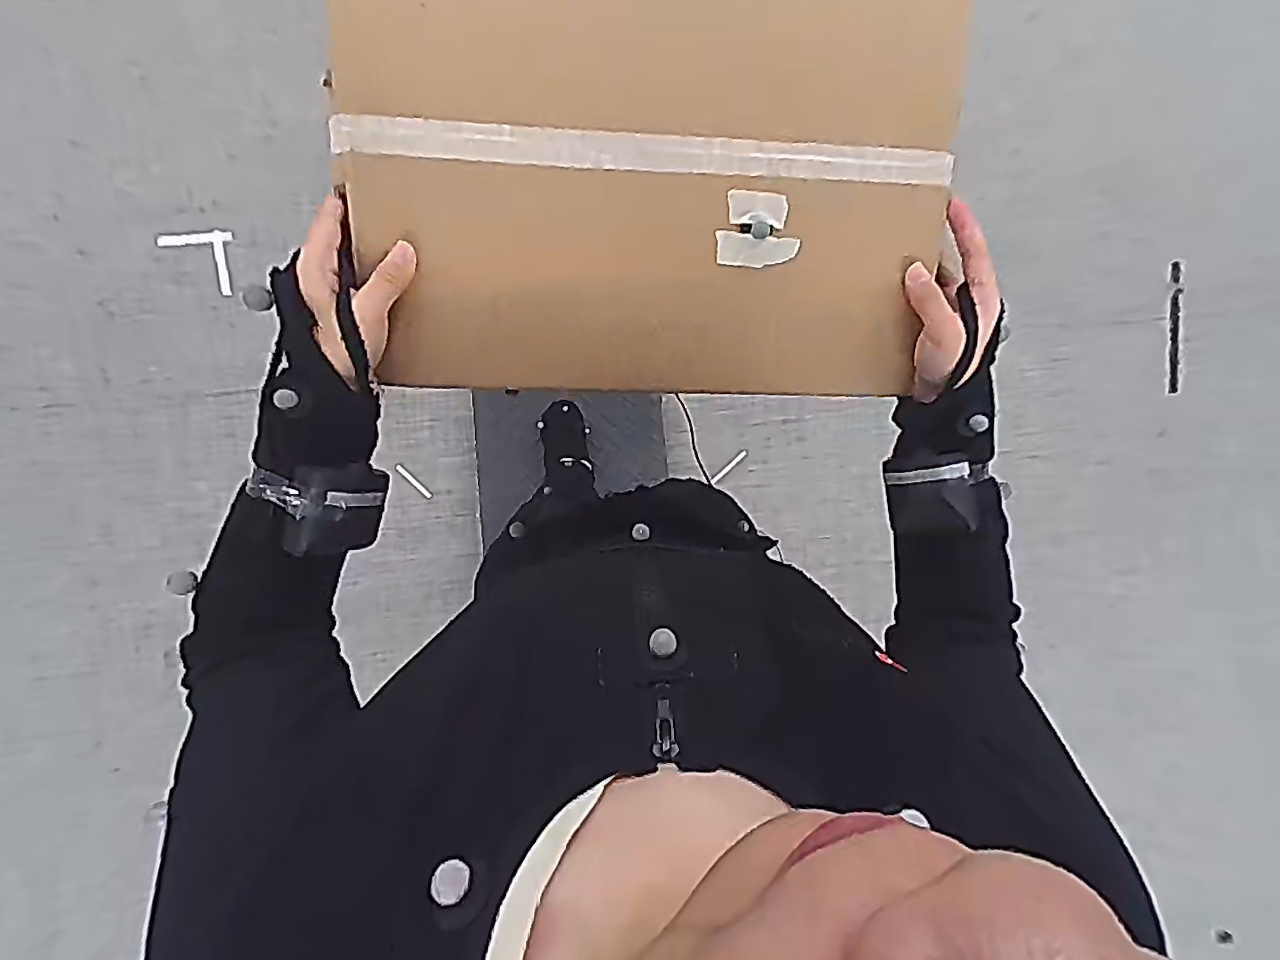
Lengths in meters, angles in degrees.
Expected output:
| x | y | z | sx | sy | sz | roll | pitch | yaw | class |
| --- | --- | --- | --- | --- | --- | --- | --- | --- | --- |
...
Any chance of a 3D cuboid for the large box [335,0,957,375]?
| x | y | z | sx | sy | sz | roll | pitch | yaw | class |
| --- | --- | --- | --- | --- | --- | --- | --- | --- | --- |
| -0.006 | -0.269 | 0.506 | 0.408 | 0.320 | 0.320 | 0 | 107 | -7 | large box |
